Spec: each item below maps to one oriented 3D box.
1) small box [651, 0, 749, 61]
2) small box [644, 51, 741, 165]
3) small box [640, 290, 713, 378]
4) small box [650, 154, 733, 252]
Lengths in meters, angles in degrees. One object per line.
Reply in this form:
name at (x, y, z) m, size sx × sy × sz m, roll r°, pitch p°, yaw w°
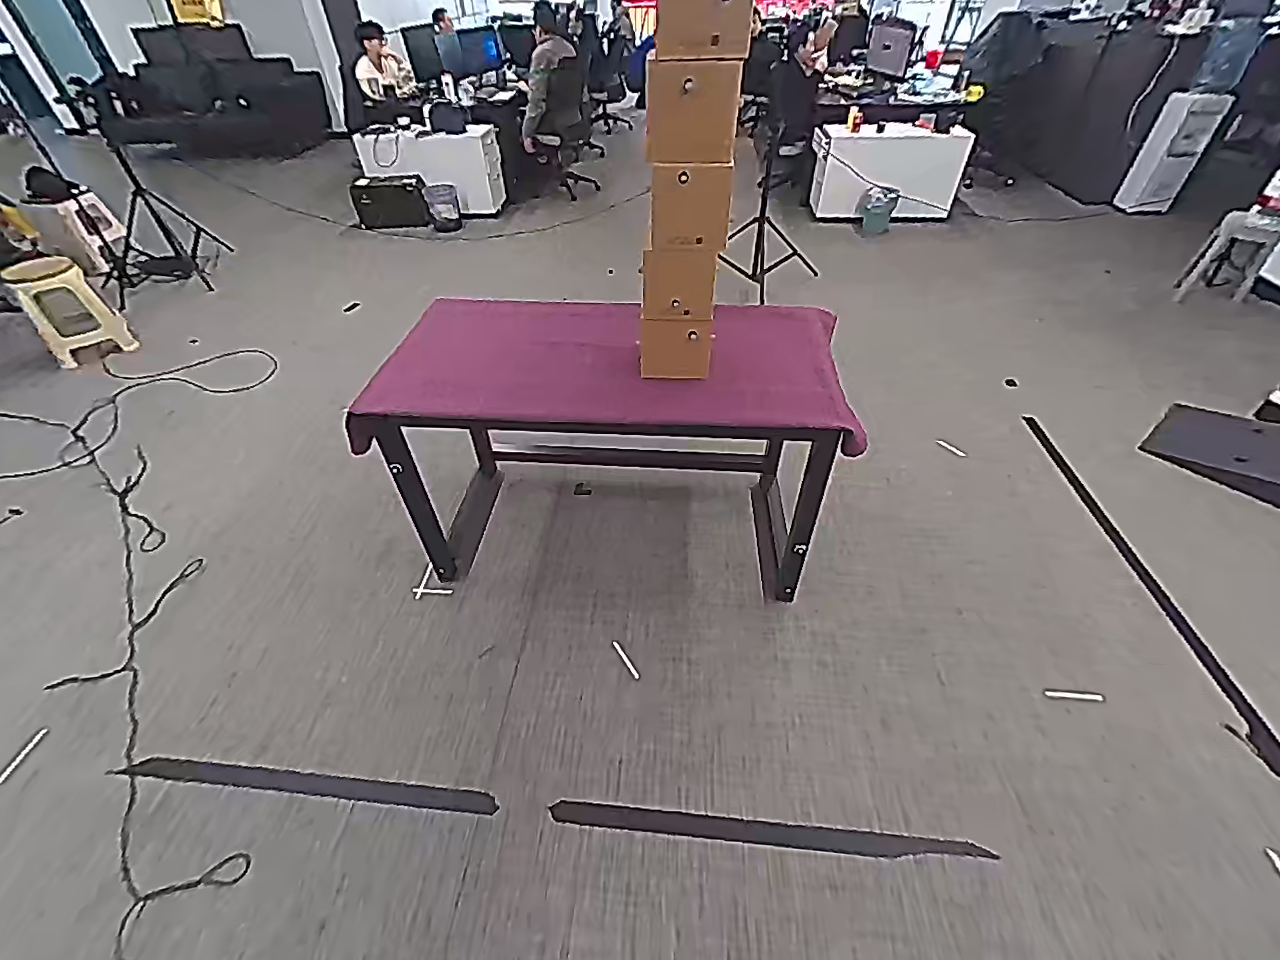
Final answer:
small box at (0.105, -0.862, 0.970) m, size 0.168 × 0.176 × 0.179 m, roll 1°, pitch 42°, yaw 1°
small box at (0.098, -0.742, 1.079) m, size 0.179 × 0.176 × 0.168 m, roll 1°, pitch 43°, yaw 3°
small box at (0.093, -0.376, 1.405) m, size 0.179 × 0.176 × 0.168 m, roll 1°, pitch 42°, yaw 4°
small box at (0.107, -0.615, 1.181) m, size 0.168 × 0.176 × 0.179 m, roll 1°, pitch 43°, yaw 3°
